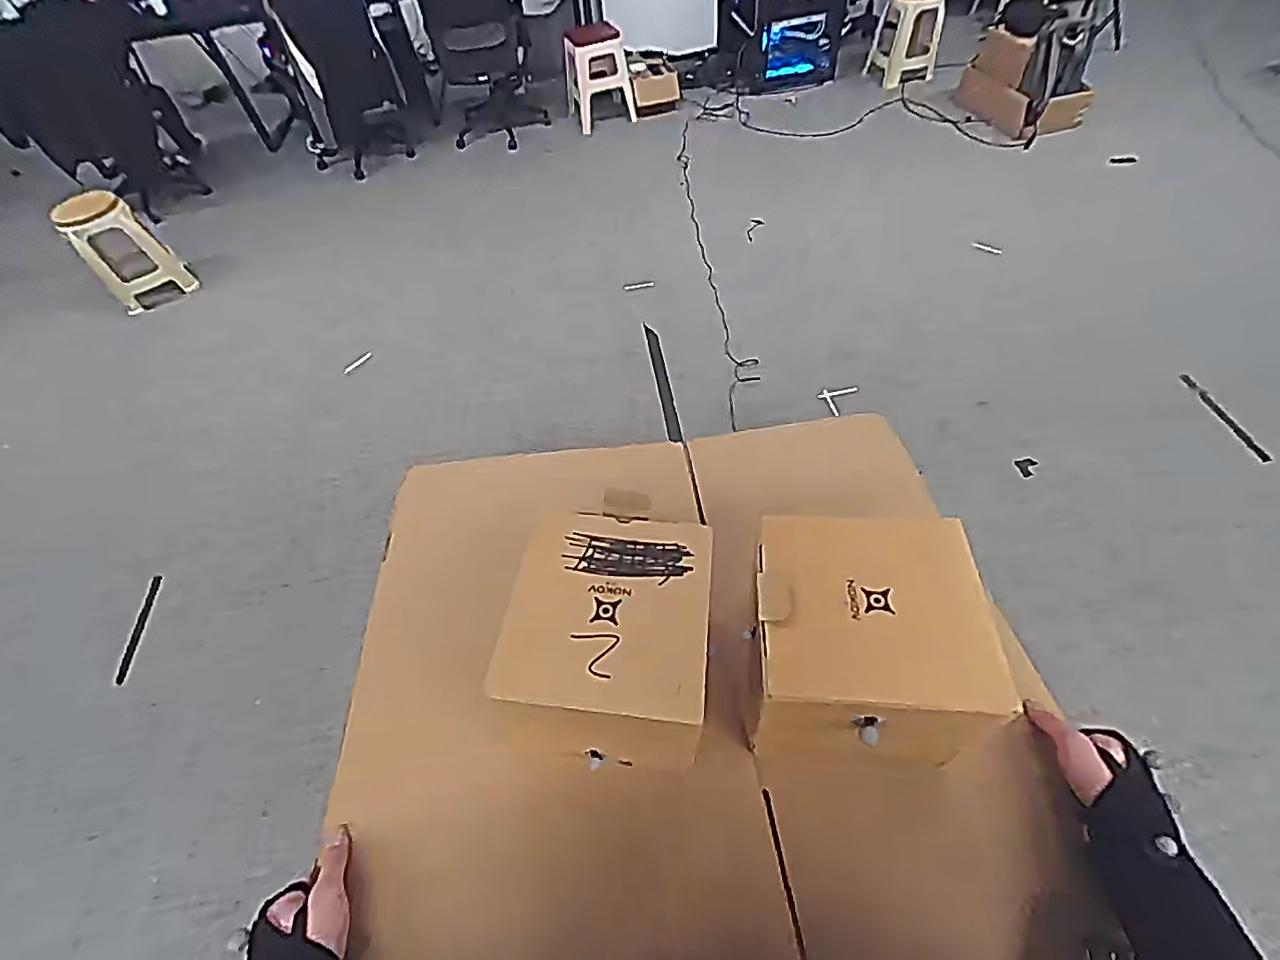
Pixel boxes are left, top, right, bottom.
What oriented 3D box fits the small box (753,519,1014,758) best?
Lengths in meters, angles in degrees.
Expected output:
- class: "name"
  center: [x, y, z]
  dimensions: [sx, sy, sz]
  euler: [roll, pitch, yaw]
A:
- class: "small box"
  center: [0.200, 0.152, 0.508]
  dimensions: [0.179, 0.176, 0.168]
  euler: [0, 51, 9]
